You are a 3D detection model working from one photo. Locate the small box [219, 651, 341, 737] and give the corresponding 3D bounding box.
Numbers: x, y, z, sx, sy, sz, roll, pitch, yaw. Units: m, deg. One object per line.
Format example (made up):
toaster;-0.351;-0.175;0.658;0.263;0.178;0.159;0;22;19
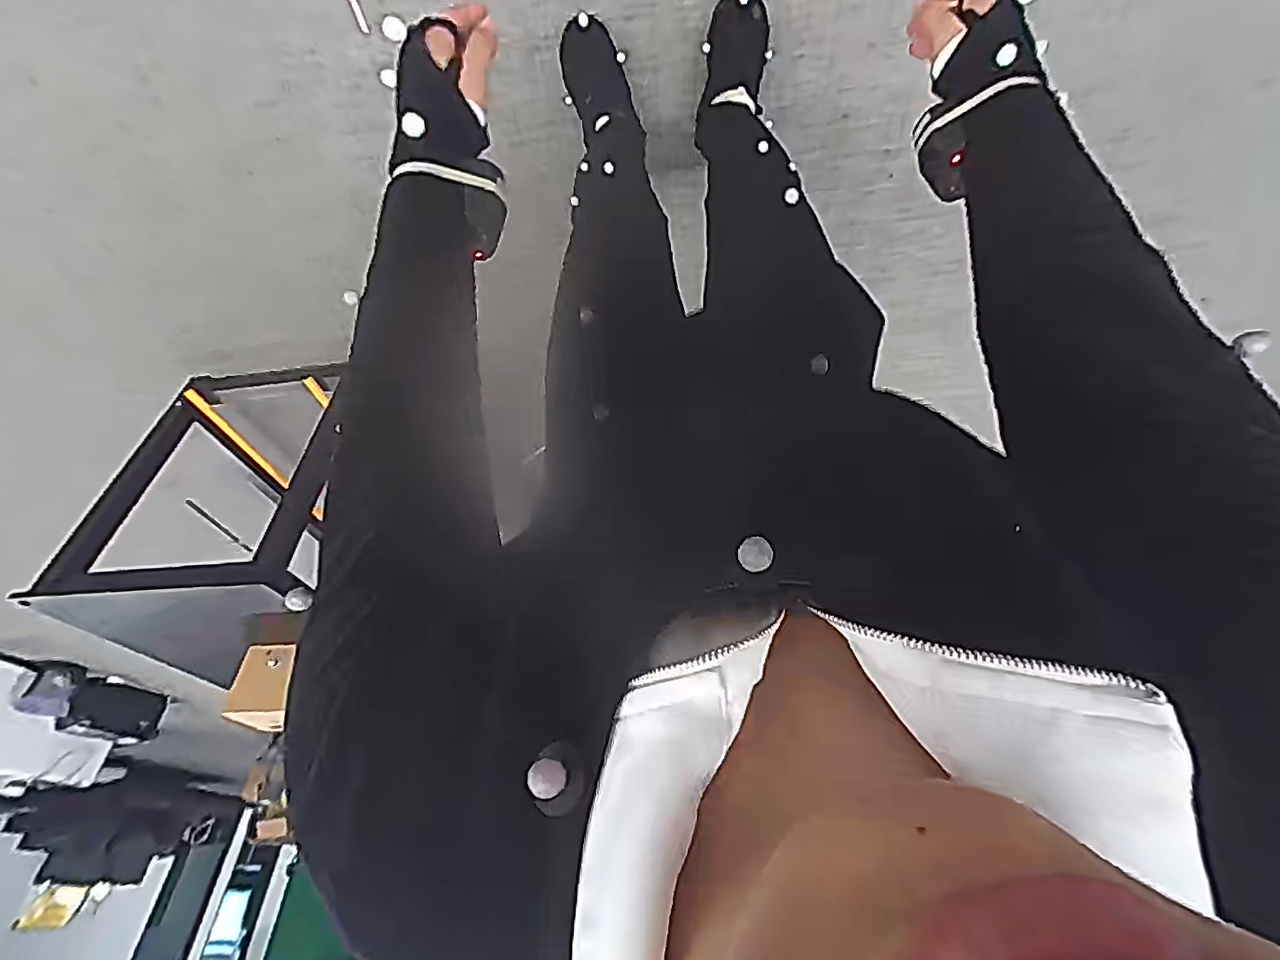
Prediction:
small box;-0.907;0.548;1.386;0.168;0.176;0.179;-4;141;5
